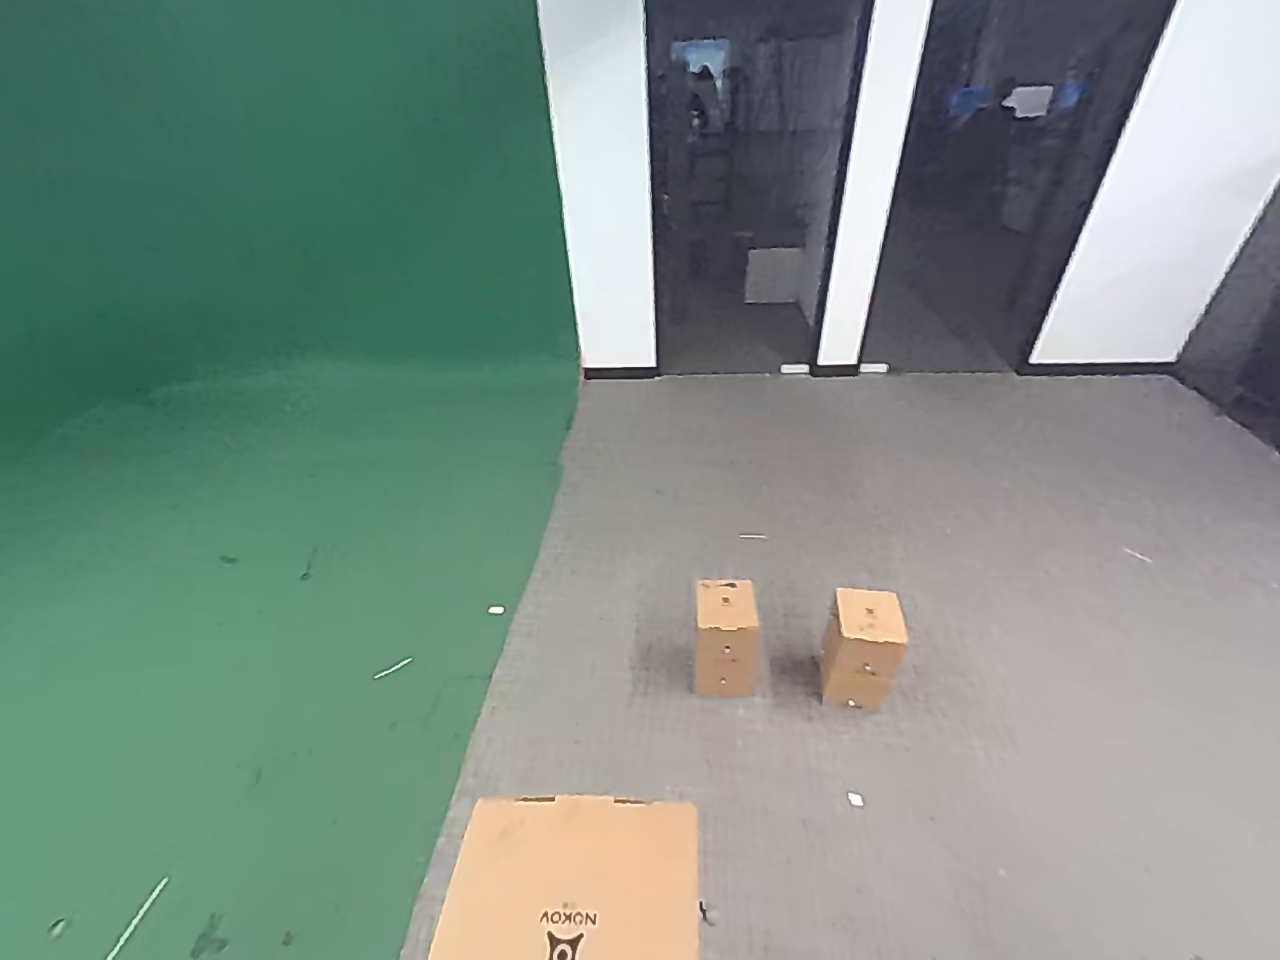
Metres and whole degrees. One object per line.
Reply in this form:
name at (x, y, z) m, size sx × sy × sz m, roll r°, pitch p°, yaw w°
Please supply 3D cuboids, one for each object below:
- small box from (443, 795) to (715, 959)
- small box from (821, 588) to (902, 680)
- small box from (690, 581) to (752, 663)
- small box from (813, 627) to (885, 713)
small box at (-0.033, 0.351, 0.371) m, size 0.168 × 0.176 × 0.179 m, roll -1°, pitch 34°, yaw 5°
small box at (0.614, 0.430, 1.521) m, size 0.168 × 0.176 × 0.179 m, roll 3°, pitch 38°, yaw 9°
small box at (0.230, 0.414, 1.568) m, size 0.168 × 0.176 × 0.179 m, roll -1°, pitch 38°, yaw 3°
small box at (0.617, 0.564, 1.619) m, size 0.168 × 0.176 × 0.179 m, roll 5°, pitch 39°, yaw 10°
